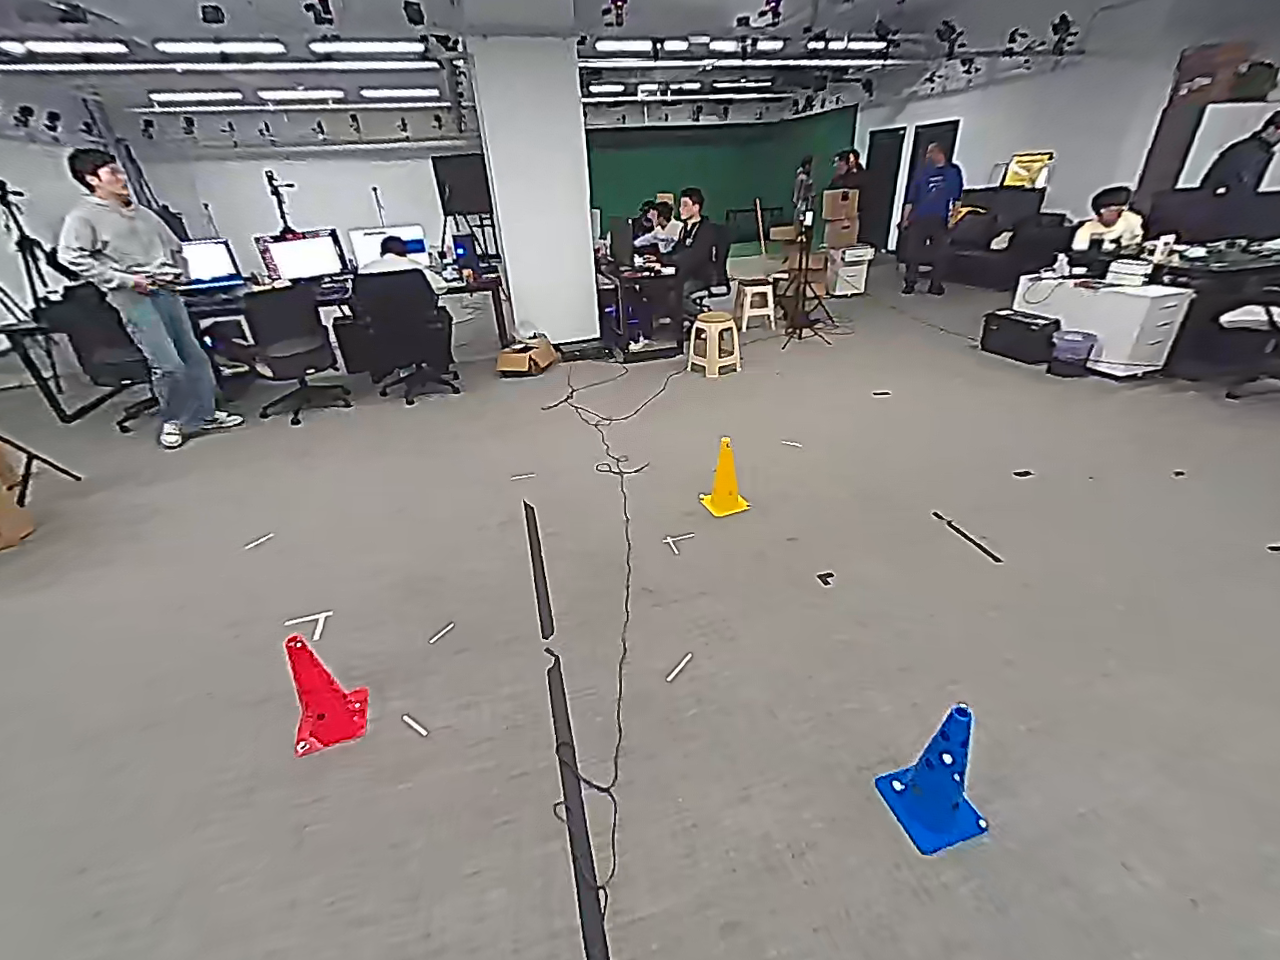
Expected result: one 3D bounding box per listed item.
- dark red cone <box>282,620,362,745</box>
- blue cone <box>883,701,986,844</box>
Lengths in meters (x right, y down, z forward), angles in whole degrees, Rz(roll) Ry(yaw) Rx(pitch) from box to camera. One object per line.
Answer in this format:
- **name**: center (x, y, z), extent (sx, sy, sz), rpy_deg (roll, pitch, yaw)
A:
- **dark red cone**: center (-0.988, 0.582, 1.620), extent (0.201, 0.394, 0.202), rpy_deg (-13, 30, -19)
- **blue cone**: center (0.742, 0.679, 1.309), extent (0.192, 0.380, 0.193), rpy_deg (-9, 29, -12)
